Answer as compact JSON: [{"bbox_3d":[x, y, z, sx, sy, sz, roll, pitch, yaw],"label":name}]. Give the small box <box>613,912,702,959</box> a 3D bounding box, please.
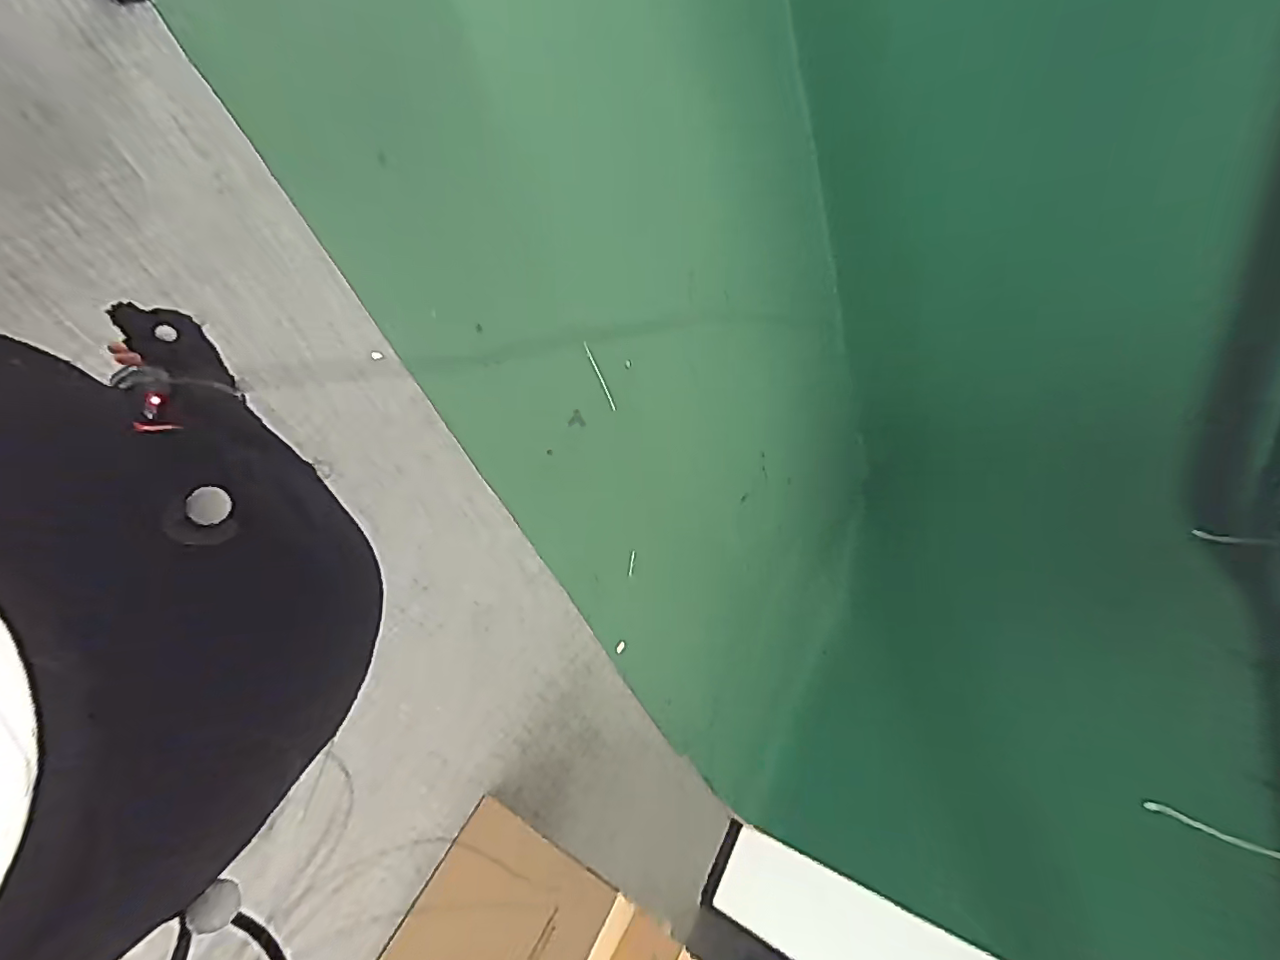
[{"bbox_3d":[0.040,1.335,1.472,0.179,0.176,0.168,-51,127,-33],"label":"small box"}]
